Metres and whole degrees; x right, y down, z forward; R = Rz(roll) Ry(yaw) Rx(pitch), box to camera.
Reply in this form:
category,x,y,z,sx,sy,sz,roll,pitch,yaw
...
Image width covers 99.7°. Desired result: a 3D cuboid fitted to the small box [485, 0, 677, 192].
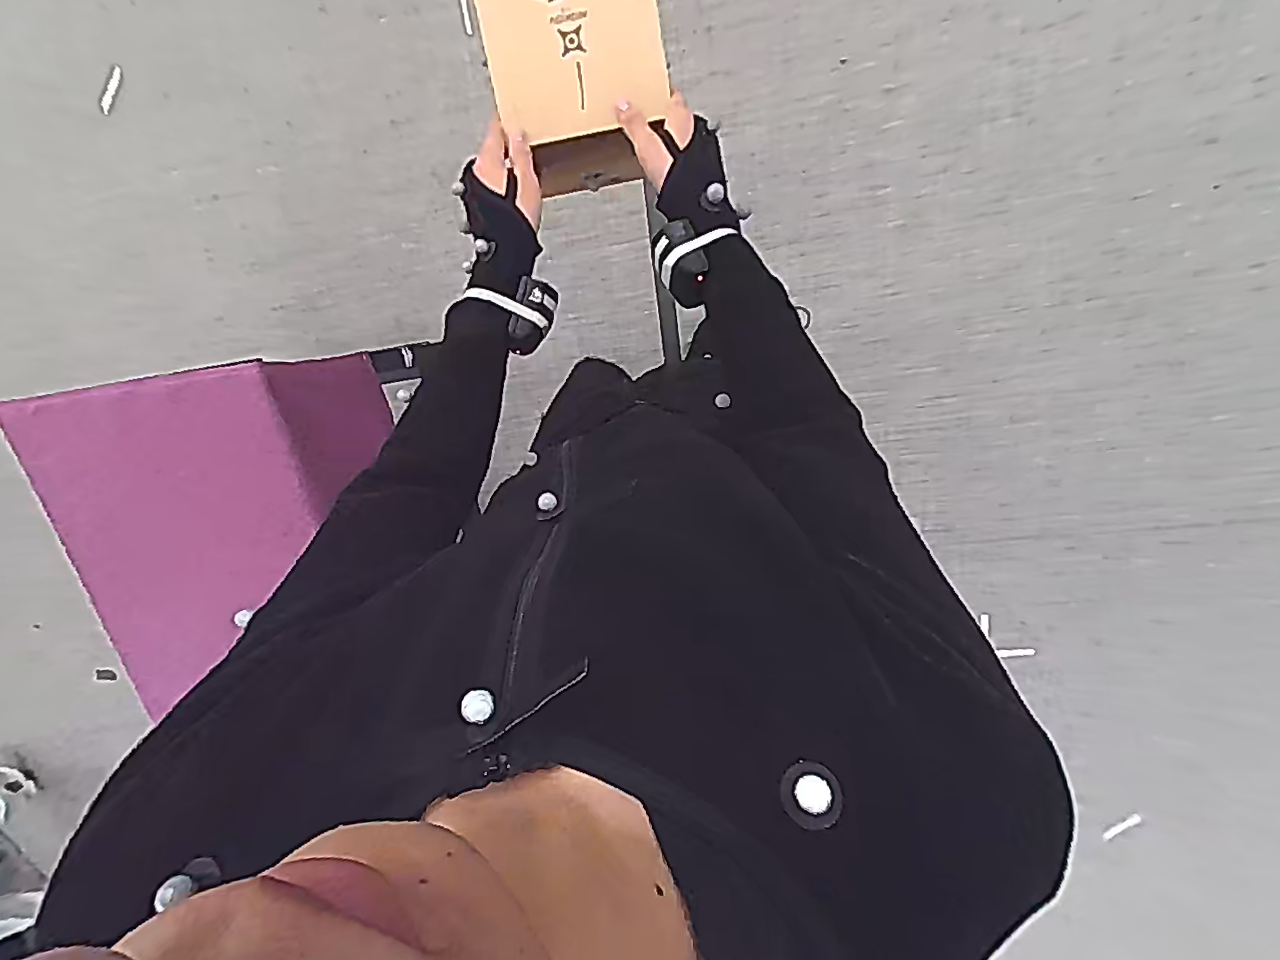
category,x,y,z,sx,sy,sz,roll,pitch,yaw
small box,-0.060,-0.438,0.580,0.168,0.176,0.179,-10,103,1
